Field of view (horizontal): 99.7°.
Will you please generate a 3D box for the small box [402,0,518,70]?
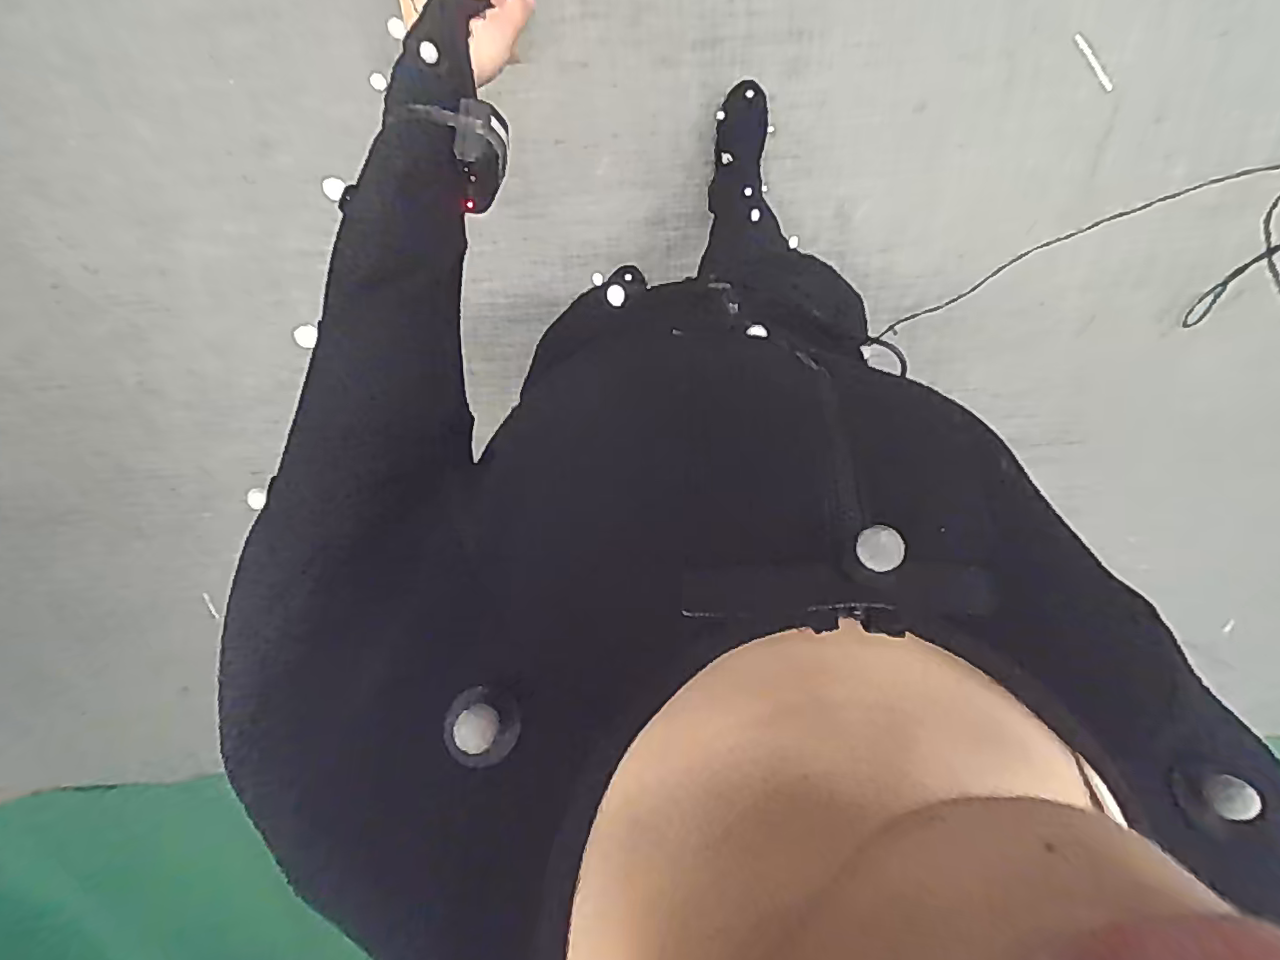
[{"bbox_3d":[-0.338,-0.901,1.026,0.179,0.176,0.168,-4,117,3],"label":"small box"}]
